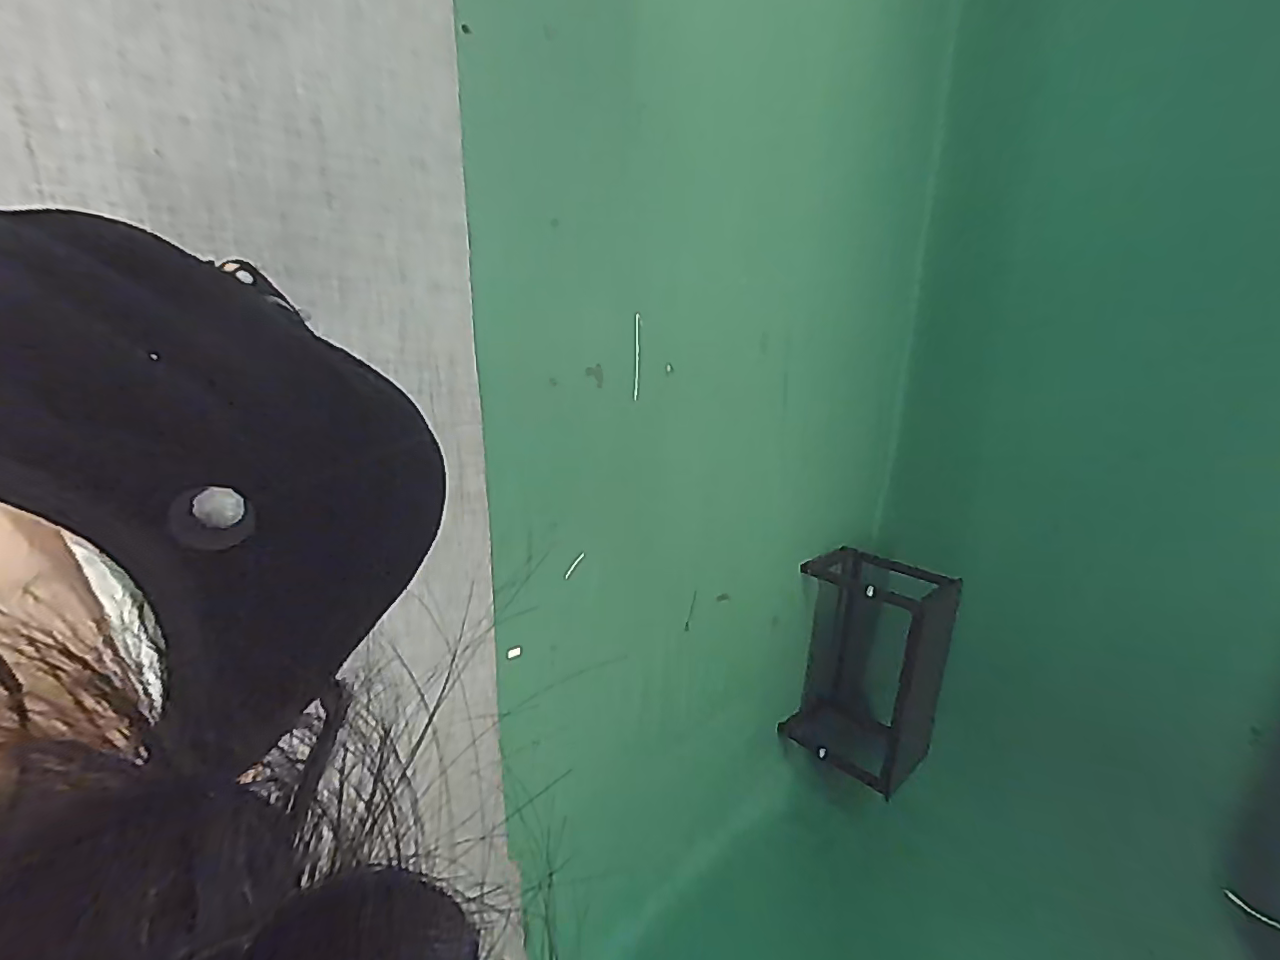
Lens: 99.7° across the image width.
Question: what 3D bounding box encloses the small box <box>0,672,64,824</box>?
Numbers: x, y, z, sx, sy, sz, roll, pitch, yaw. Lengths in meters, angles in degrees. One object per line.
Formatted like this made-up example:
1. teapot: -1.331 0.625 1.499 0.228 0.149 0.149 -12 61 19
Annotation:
1. small box: -1.079 0.450 0.877 0.168 0.176 0.179 -18 114 -41

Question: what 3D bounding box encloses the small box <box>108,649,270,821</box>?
1. small box: -0.769 0.421 0.928 0.179 0.176 0.168 -16 111 -38

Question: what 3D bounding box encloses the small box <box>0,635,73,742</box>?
1. small box: -1.192 0.415 0.991 0.179 0.176 0.168 -17 113 -40

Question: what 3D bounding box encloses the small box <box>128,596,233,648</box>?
1. small box: -0.979 0.371 1.173 0.168 0.176 0.179 -17 114 -37

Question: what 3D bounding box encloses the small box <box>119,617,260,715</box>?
1. small box: -0.872 0.392 1.051 0.179 0.176 0.168 -17 111 -38
